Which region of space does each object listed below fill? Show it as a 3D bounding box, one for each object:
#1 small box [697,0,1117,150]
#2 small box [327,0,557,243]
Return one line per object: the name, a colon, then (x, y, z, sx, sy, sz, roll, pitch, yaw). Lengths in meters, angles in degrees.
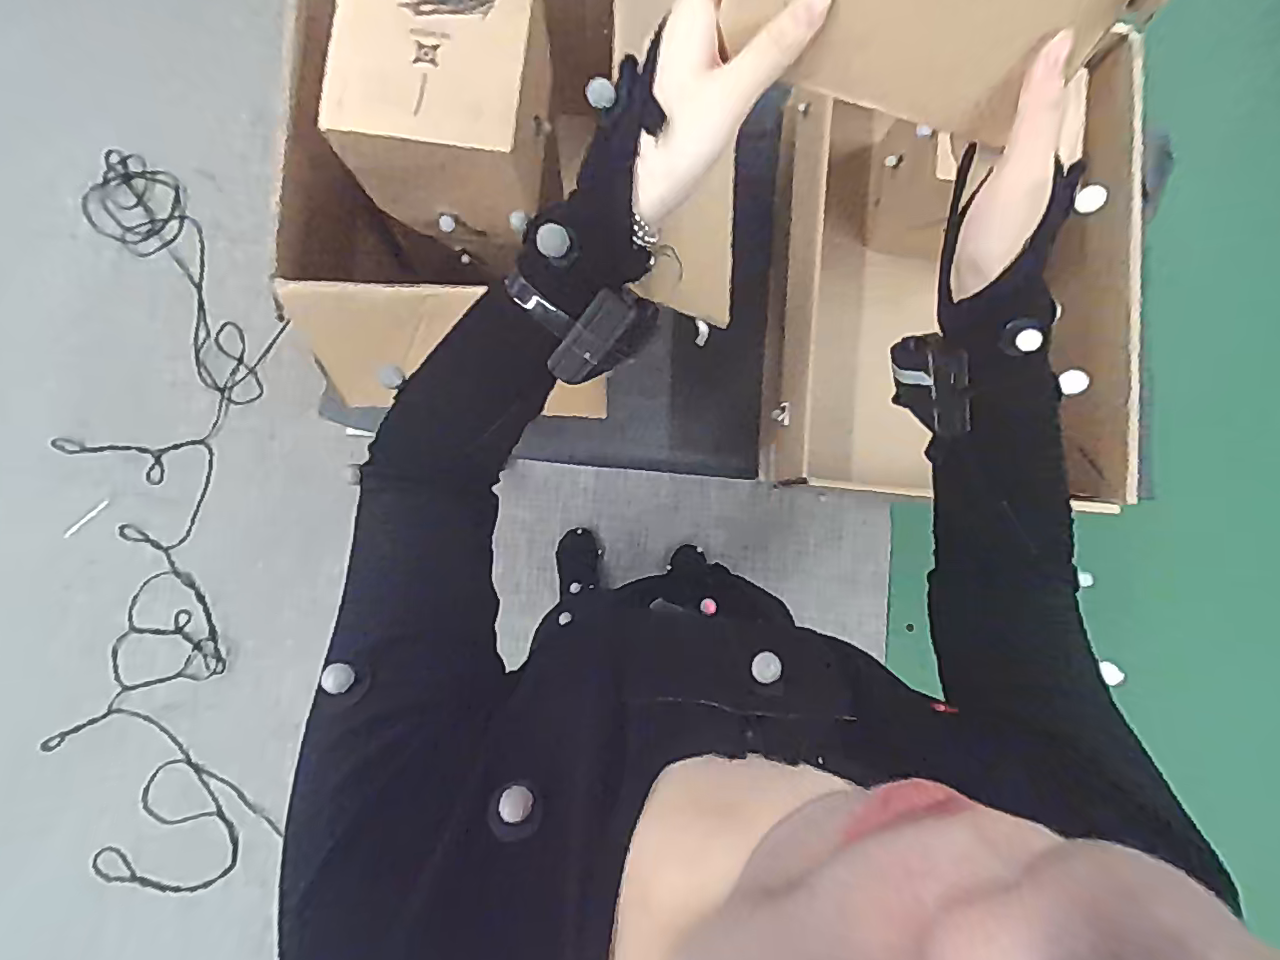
small box: (0.134, -0.301, 0.254, 0.179, 0.168, 0.176, 10, 58, -9)
small box: (-0.180, -0.373, 0.548, 0.168, 0.176, 0.179, 7, 88, -2)
